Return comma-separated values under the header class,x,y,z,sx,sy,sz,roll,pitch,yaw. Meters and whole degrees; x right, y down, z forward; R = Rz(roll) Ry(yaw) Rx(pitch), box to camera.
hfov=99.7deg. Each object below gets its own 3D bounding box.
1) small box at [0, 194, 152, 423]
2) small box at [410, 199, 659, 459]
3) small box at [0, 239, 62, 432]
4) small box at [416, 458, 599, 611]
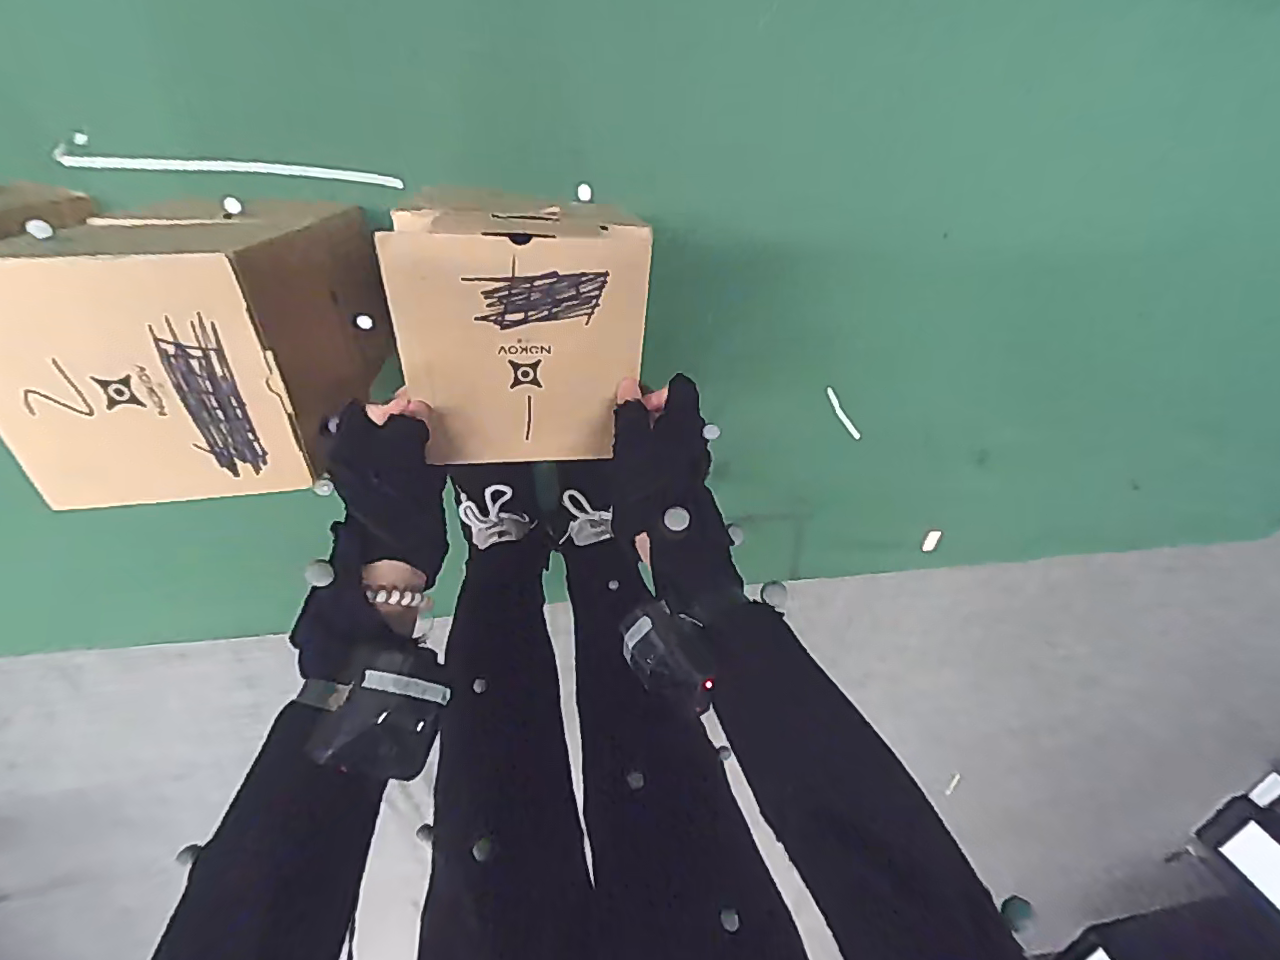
class,x,y,z,sx,sy,sz,roll,pitch,yaw
small box,-0.627,-0.171,0.519,0.168,0.176,0.179,2,119,-12
small box,-0.090,-0.132,0.460,0.168,0.176,0.179,0,121,-12
small box,-0.589,-0.099,0.375,0.179,0.176,0.168,1,119,-12
small box,-0.185,0.046,0.757,0.179,0.176,0.168,34,120,-8
